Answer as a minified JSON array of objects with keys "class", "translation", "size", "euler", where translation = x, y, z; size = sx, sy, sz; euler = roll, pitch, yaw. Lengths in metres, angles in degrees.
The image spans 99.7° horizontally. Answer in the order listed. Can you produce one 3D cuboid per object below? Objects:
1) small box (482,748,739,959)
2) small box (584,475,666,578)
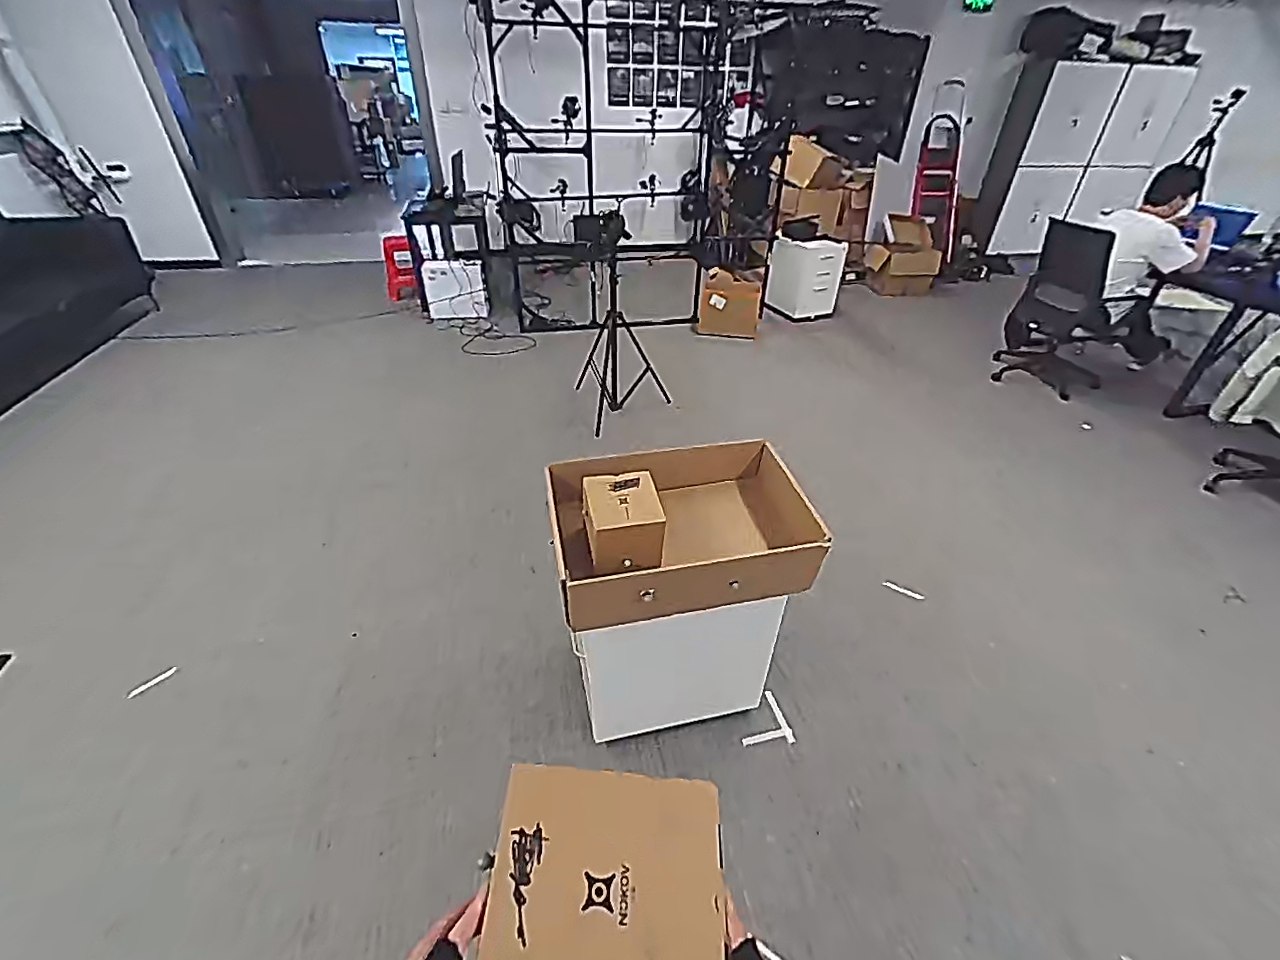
[{"class":"small box","translation":[-0.031,0.347,0.449],"size":[0.179,0.176,0.168],"euler":[10,43,-7]},{"class":"small box","translation":[-0.043,0.111,1.304],"size":[0.168,0.176,0.179],"euler":[-7,43,-12]}]
